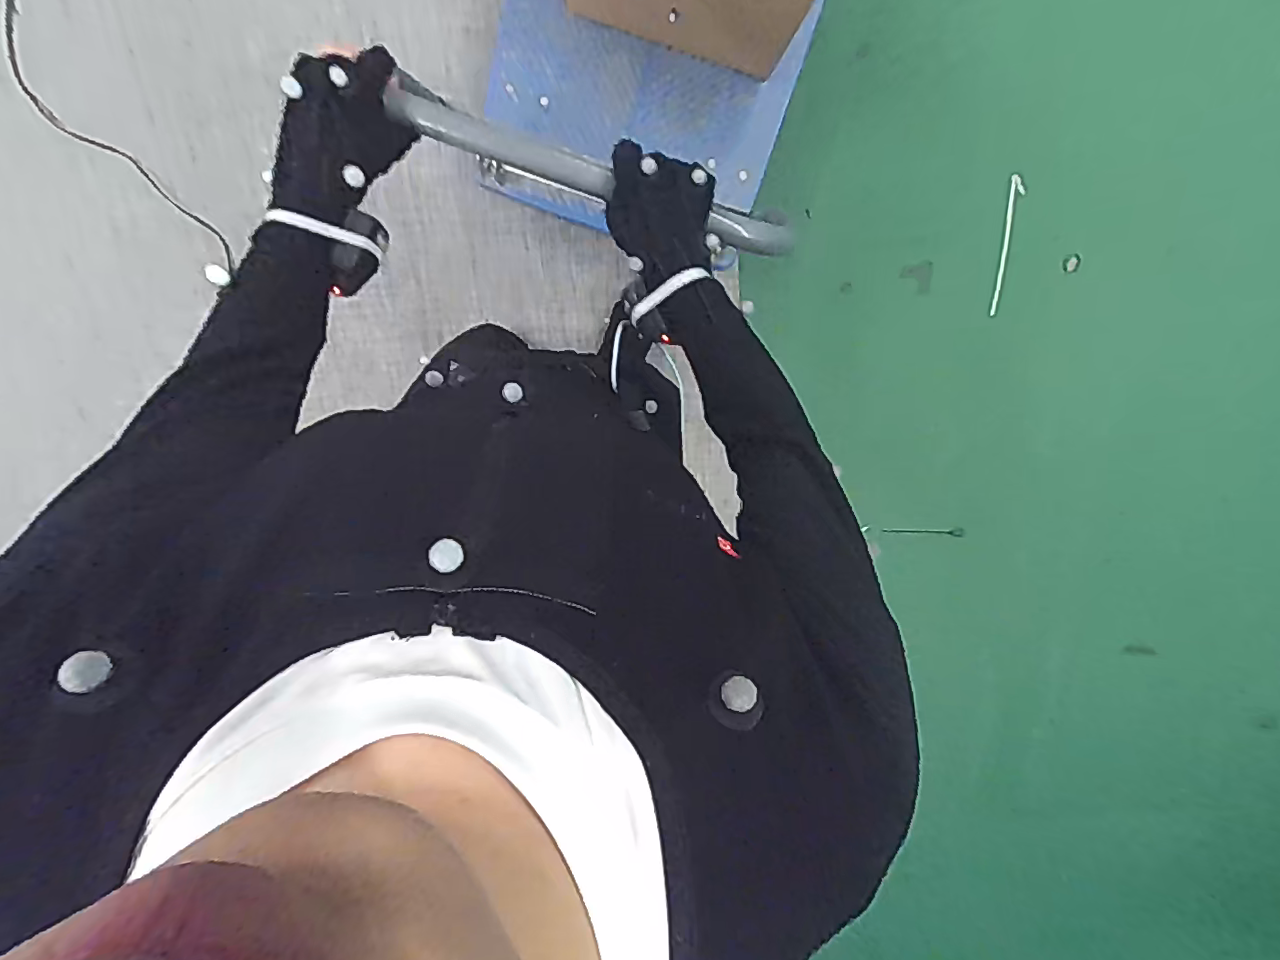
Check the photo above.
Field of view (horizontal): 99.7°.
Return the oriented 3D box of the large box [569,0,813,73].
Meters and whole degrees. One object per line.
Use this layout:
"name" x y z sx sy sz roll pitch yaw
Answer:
"large box" 0.099 -0.926 0.852 0.408 0.320 0.320 15 107 -5
